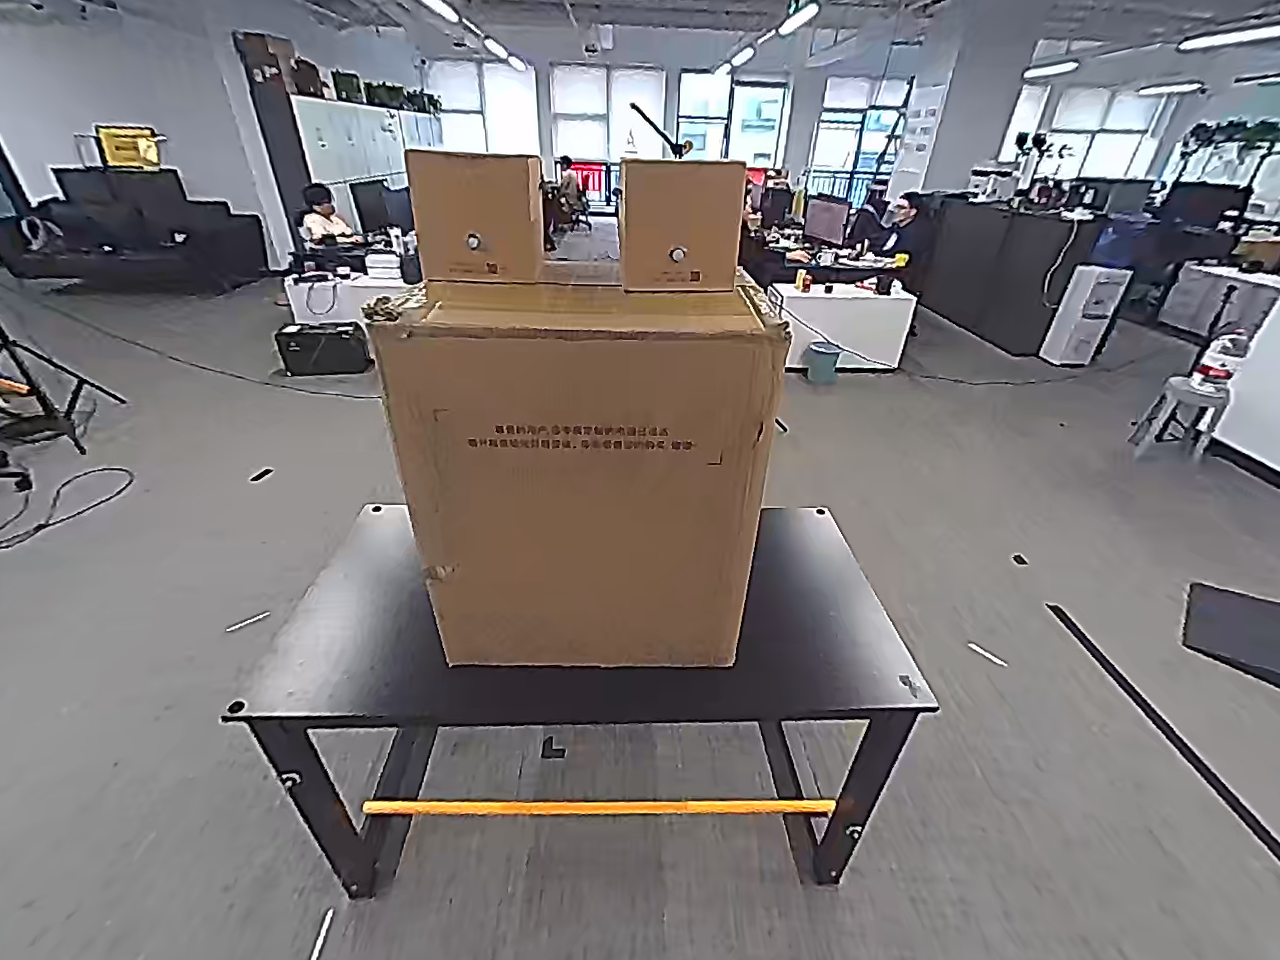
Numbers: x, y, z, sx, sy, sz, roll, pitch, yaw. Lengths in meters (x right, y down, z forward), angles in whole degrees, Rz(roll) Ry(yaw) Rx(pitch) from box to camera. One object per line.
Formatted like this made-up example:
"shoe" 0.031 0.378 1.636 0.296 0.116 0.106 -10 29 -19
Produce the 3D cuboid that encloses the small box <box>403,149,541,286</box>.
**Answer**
"small box" -0.245 -0.407 0.837 0.168 0.176 0.179 0 31 -4

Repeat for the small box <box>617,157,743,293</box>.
"small box" 0.049 -0.390 0.822 0.168 0.176 0.179 -2 31 -4
